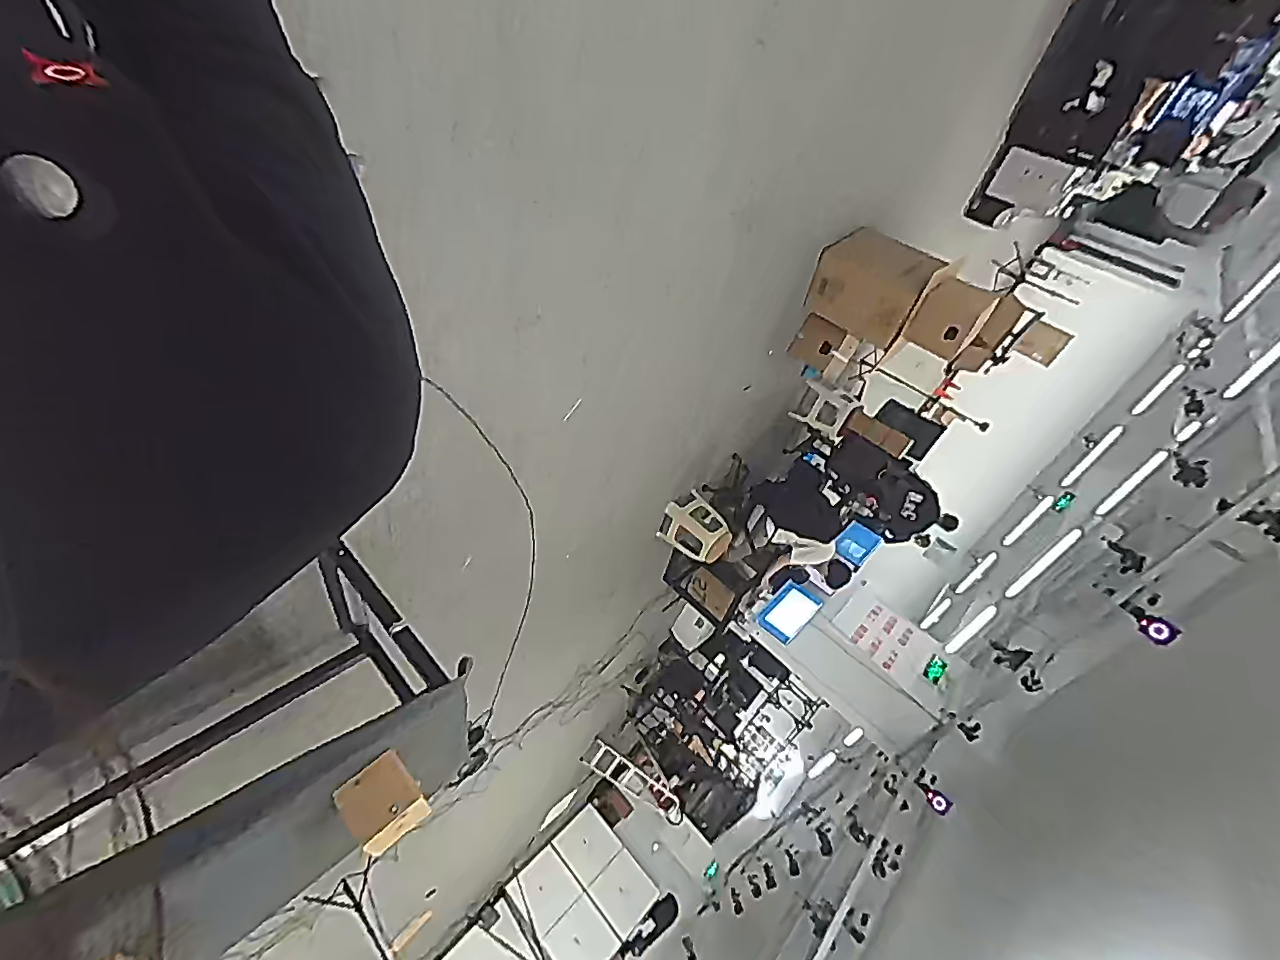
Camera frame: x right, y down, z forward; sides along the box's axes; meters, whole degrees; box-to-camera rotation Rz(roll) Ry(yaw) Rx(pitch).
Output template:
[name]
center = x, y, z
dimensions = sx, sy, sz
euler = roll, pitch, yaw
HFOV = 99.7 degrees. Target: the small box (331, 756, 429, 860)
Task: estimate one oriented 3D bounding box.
[small box]
center = -0.707, 0.890, 1.477
dimensions = 0.168, 0.176, 0.179
euler = -36, 153, -33
